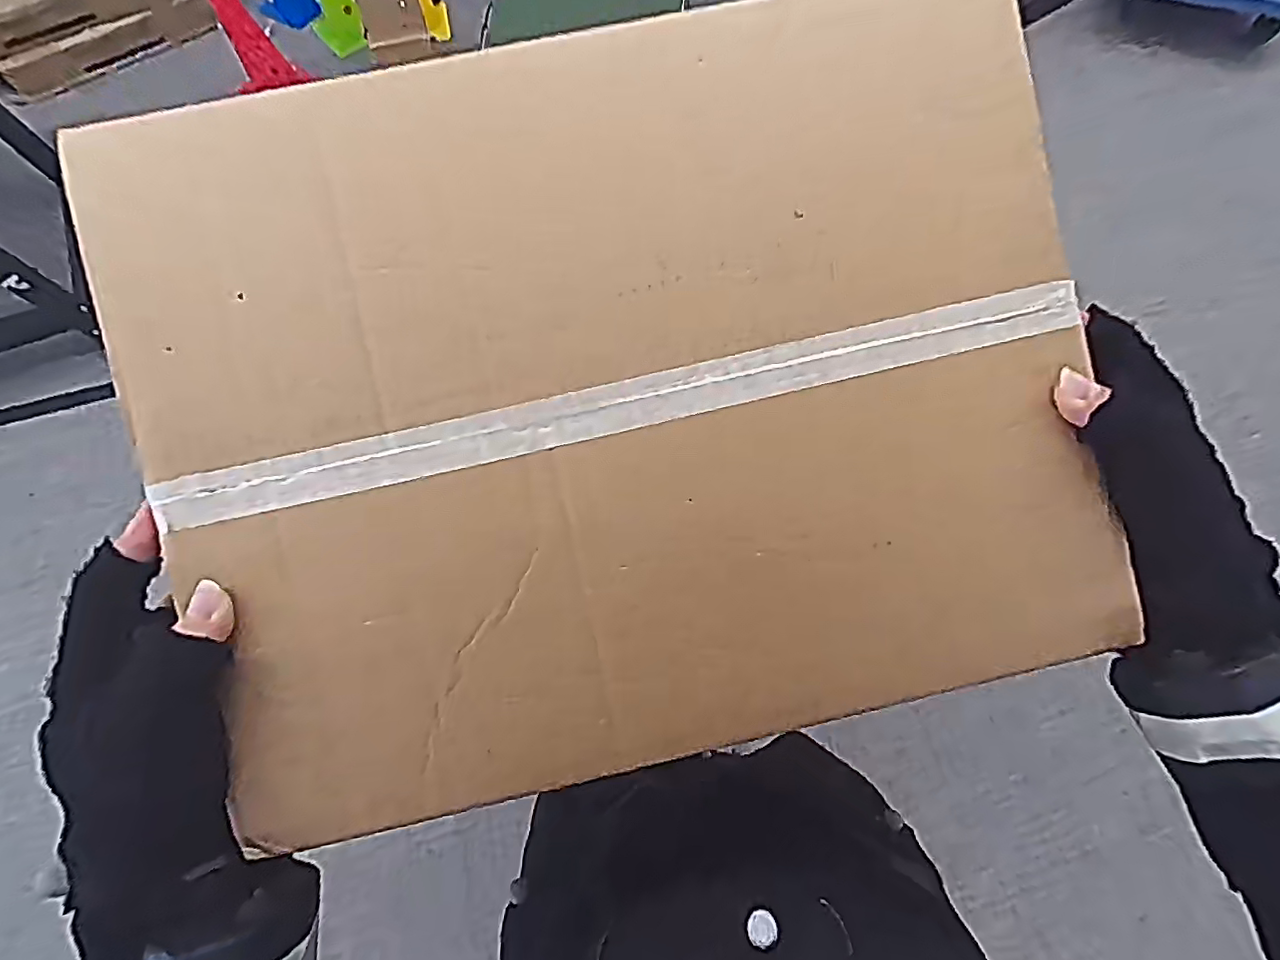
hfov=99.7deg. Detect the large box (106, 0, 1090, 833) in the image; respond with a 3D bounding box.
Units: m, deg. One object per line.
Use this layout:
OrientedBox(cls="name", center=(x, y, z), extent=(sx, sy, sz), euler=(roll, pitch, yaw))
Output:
OrientedBox(cls="large box", center=(-0.012, -0.037, 0.395), extent=(0.408, 0.320, 0.320), euler=(-13, 91, -2))
